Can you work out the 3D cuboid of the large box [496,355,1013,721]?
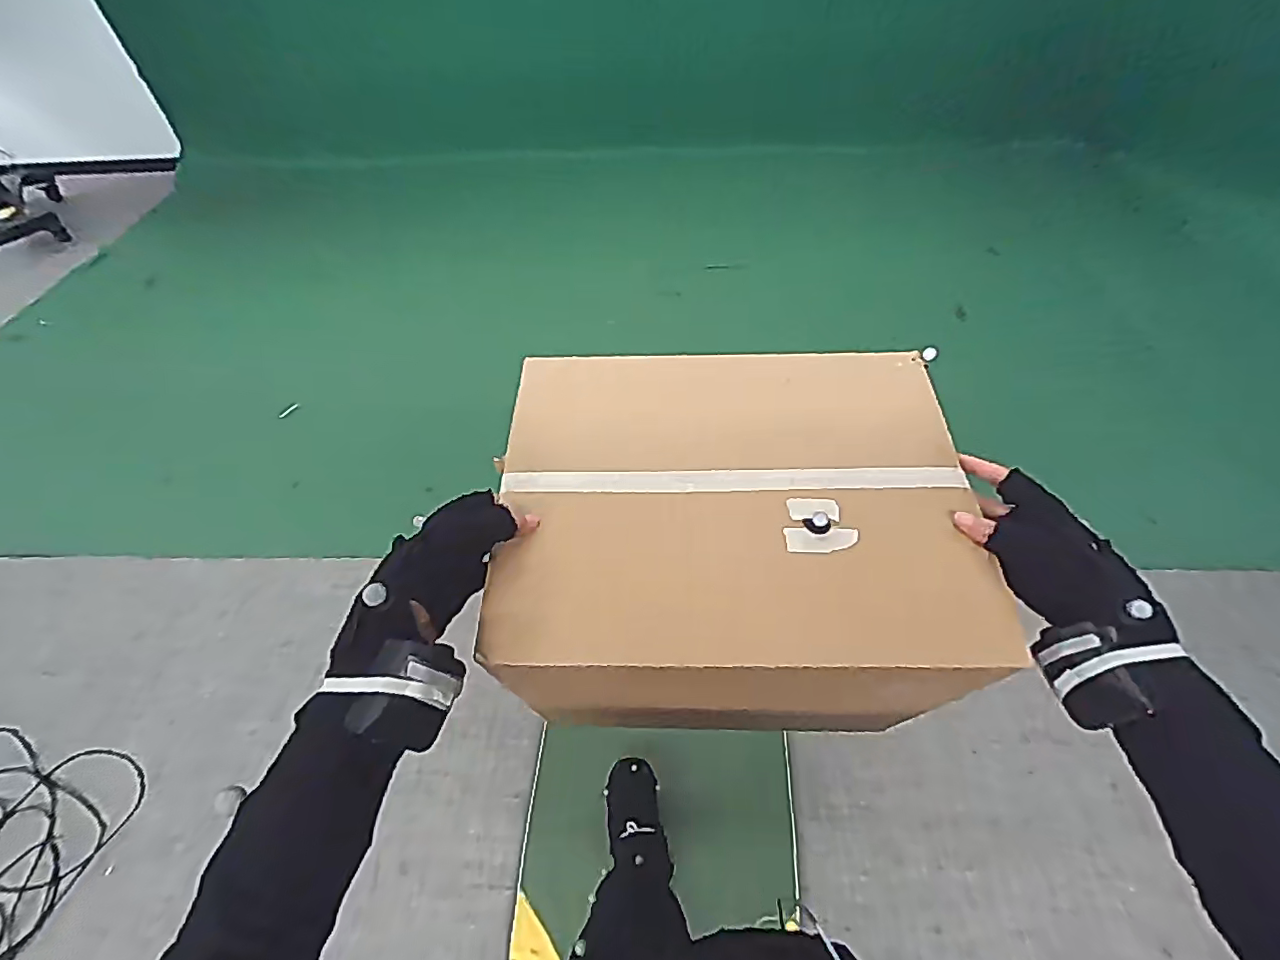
[{"bbox_3d":[0.086,0.081,0.614,0.408,0.320,0.320,0,58,1],"label":"large box"}]
